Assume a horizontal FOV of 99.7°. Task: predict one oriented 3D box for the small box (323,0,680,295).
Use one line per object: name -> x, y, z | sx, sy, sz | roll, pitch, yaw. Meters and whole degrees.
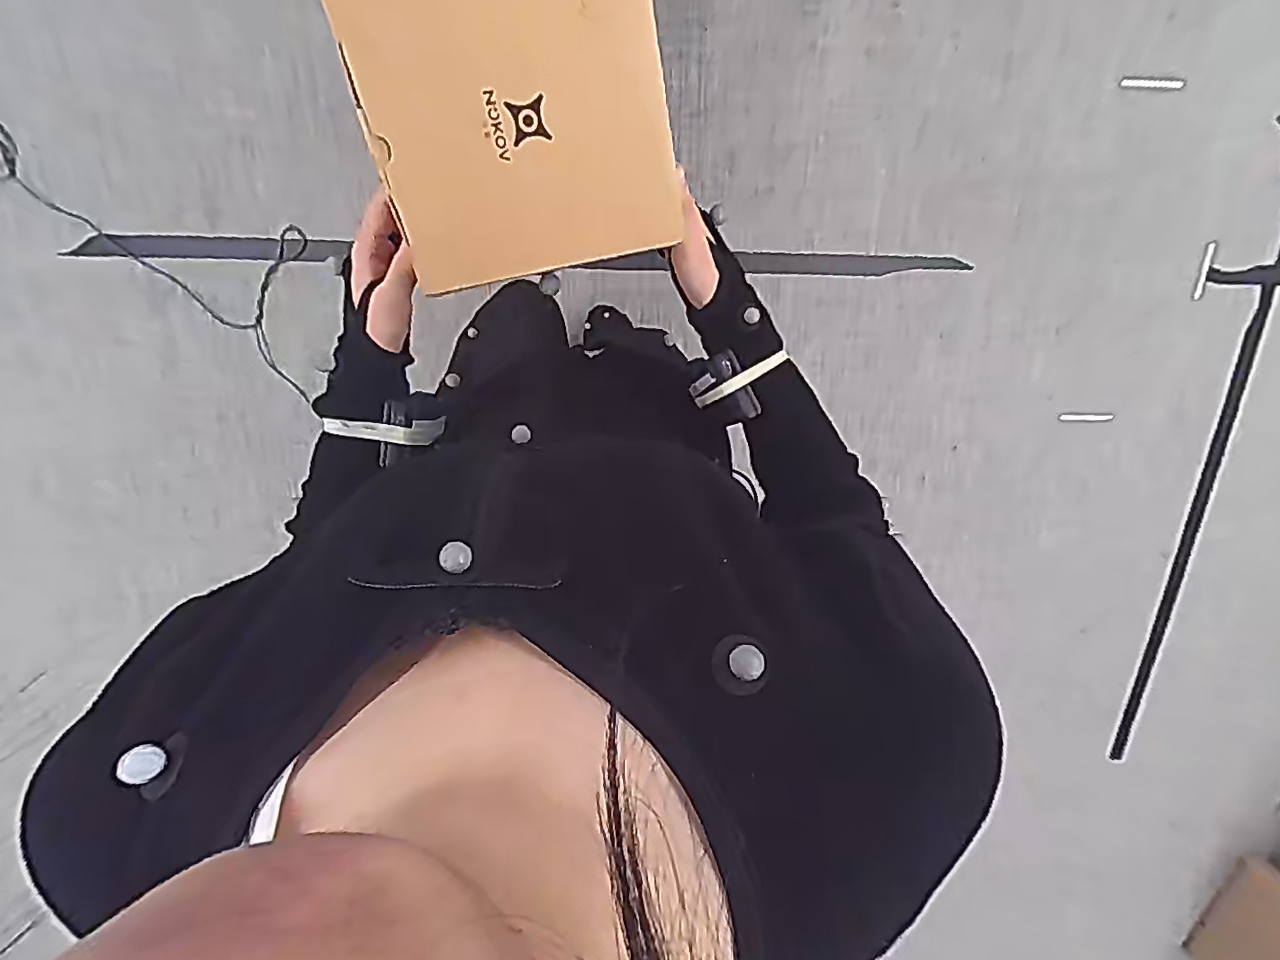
small box -> -0.079, -0.243, 0.391 | 0.179, 0.176, 0.168 | -12, 115, 0
